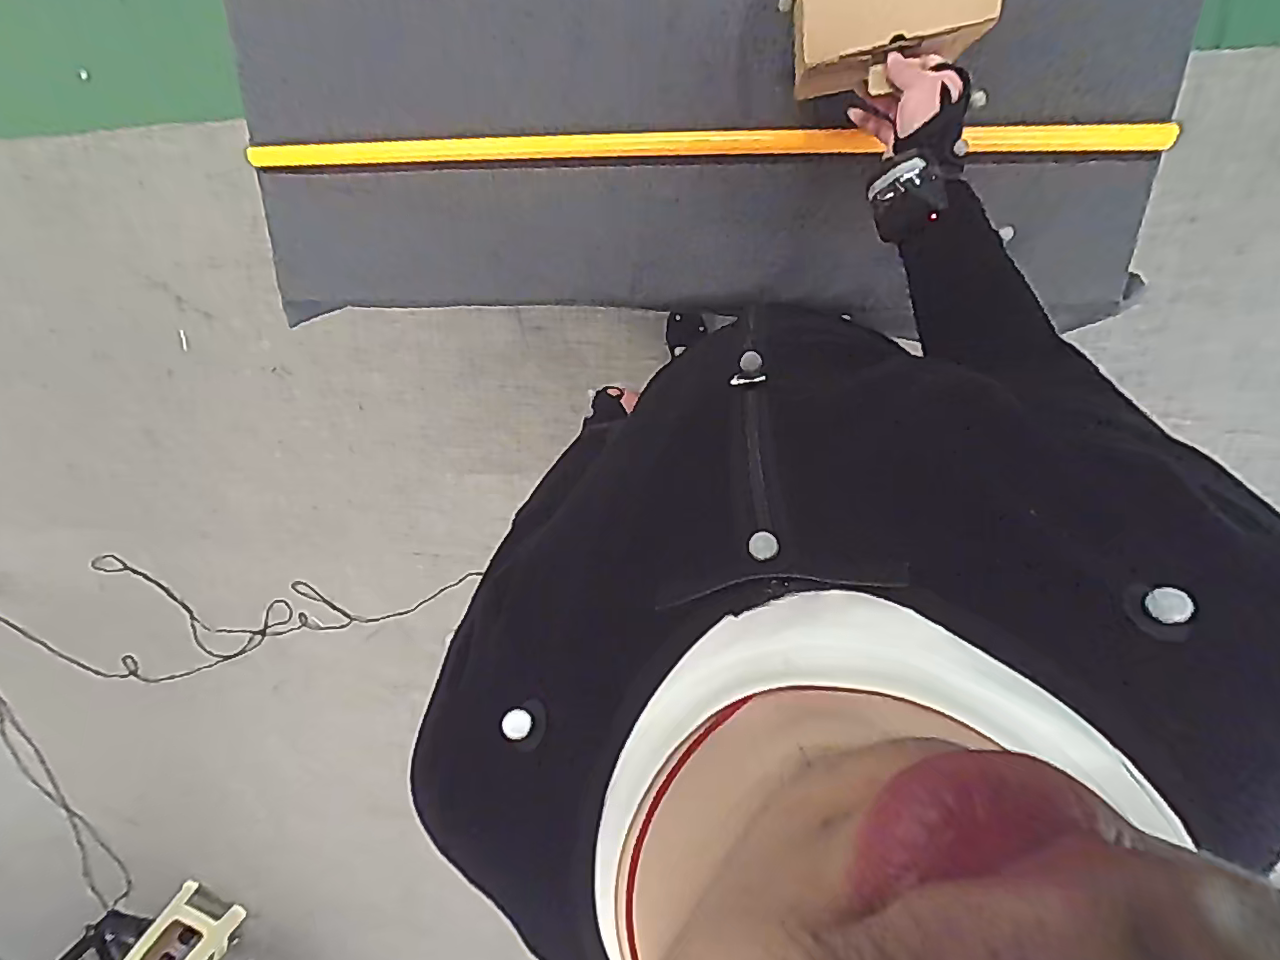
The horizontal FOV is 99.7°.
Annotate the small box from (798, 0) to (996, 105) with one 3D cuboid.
[{"bbox_3d":[0.246,-0.503,0.544,0.168,0.176,0.179,-5,114,19],"label":"small box"}]
